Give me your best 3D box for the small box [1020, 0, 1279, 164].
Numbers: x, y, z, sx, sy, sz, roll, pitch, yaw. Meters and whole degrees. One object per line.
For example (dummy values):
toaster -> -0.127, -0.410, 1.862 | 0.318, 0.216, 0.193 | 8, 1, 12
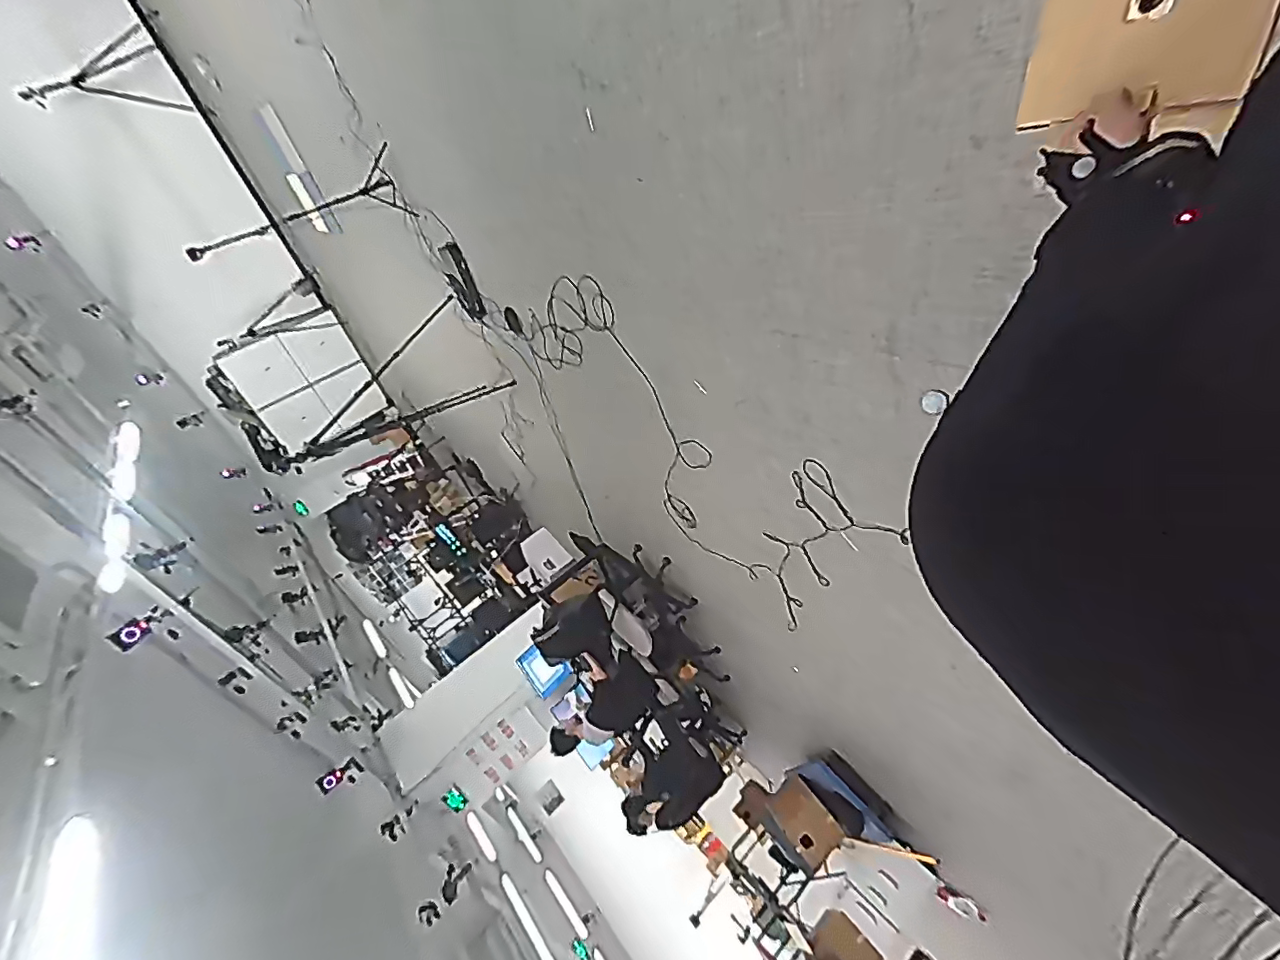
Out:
small box -> 0.501, -0.429, 0.529 | 0.168, 0.179, 0.176 | 18, 117, 40
